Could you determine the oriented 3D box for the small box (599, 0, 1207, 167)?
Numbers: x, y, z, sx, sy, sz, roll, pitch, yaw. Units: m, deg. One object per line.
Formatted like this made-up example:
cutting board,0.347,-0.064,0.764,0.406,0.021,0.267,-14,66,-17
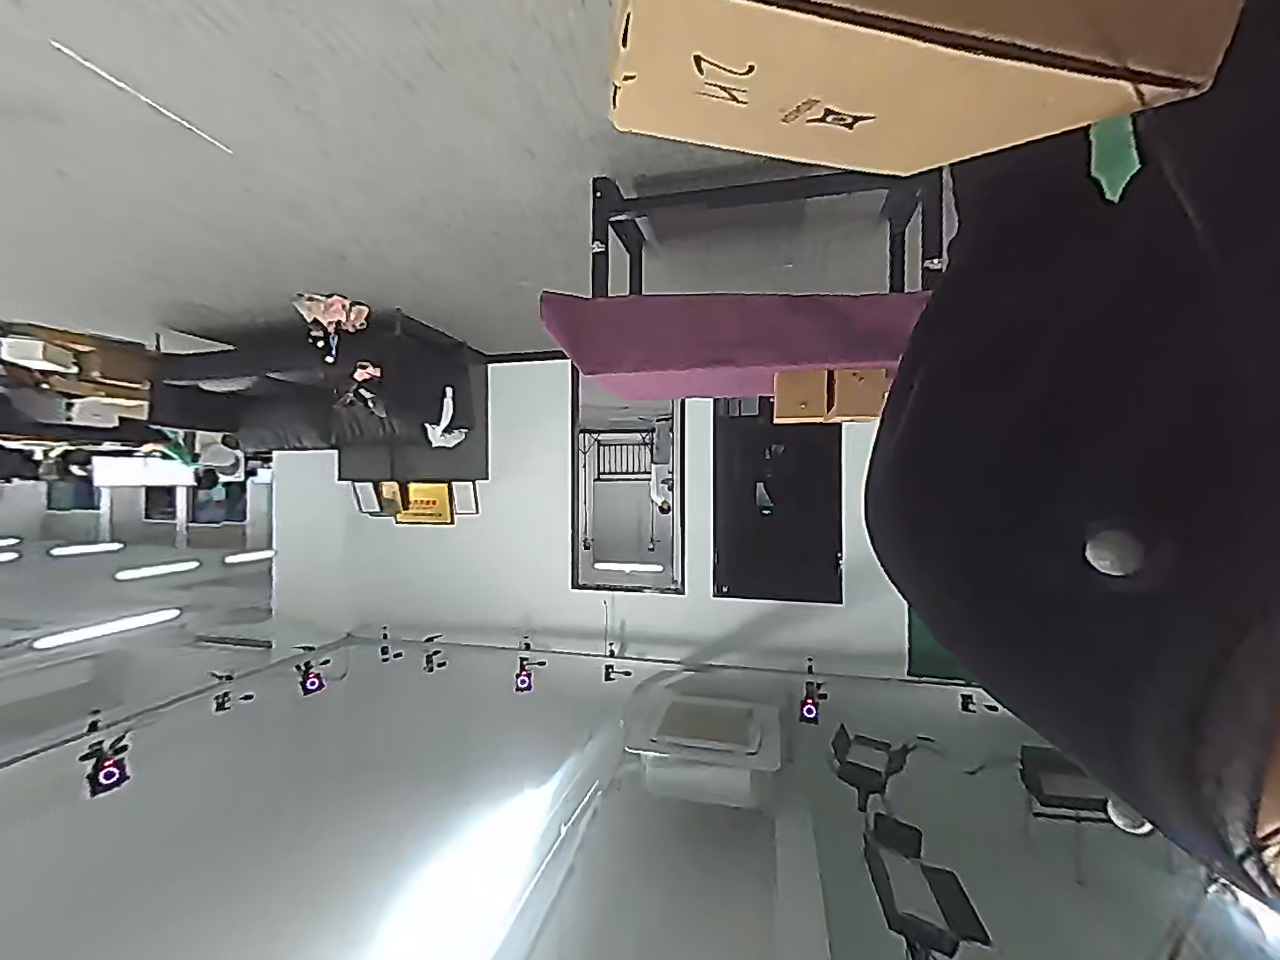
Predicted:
small box,0.085,-0.232,0.190,0.179,0.176,0.168,6,-160,-10
